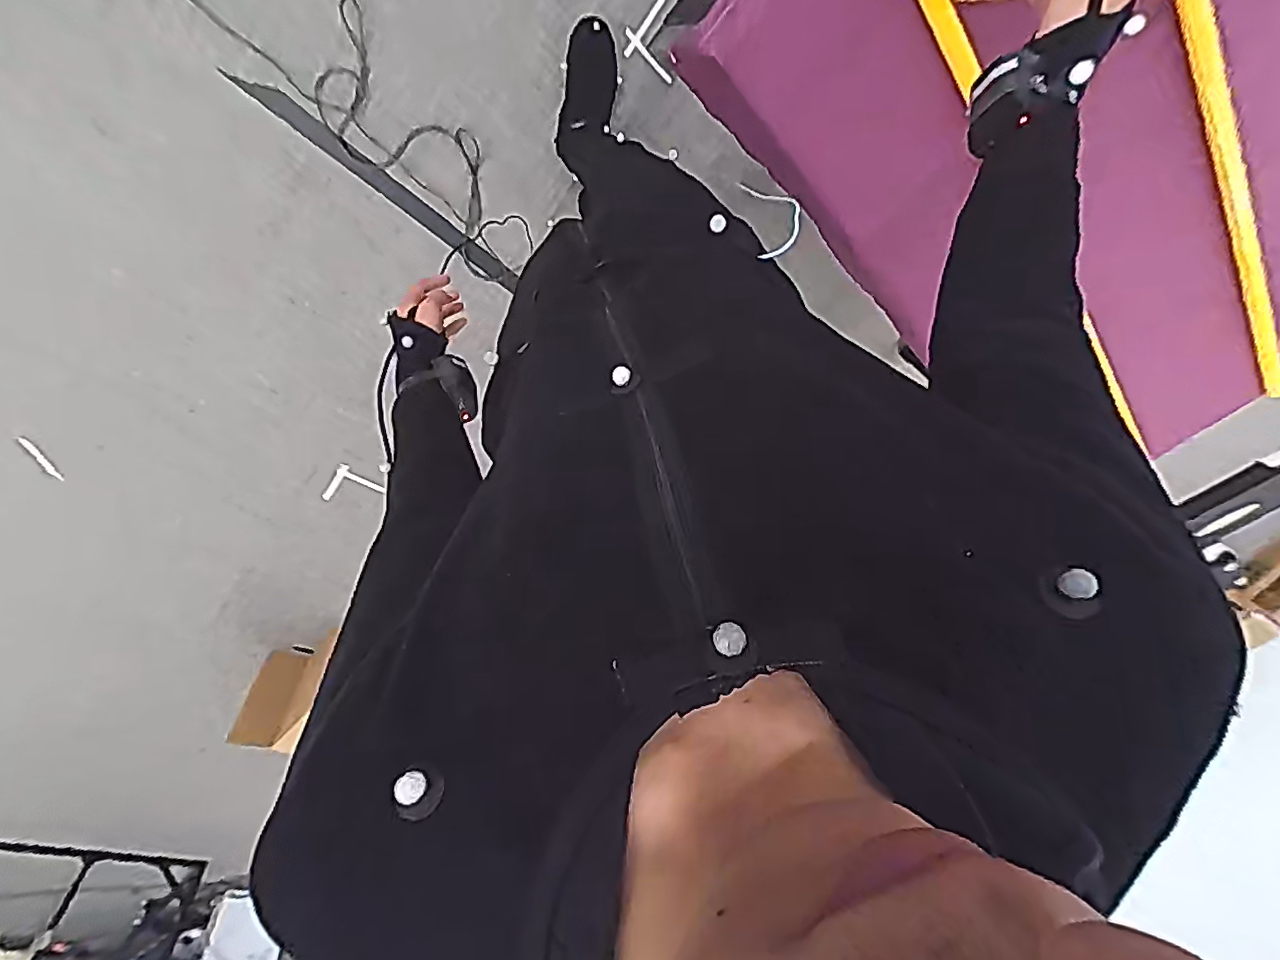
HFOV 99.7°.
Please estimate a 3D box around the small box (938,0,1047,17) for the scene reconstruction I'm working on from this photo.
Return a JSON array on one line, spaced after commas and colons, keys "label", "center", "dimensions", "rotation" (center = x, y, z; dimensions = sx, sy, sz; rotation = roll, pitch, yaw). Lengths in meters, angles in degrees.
[{"label": "small box", "center": [0.355, -0.580, 0.495], "dimensions": [0.179, 0.176, 0.168], "rotation": [34, 117, -32]}]
